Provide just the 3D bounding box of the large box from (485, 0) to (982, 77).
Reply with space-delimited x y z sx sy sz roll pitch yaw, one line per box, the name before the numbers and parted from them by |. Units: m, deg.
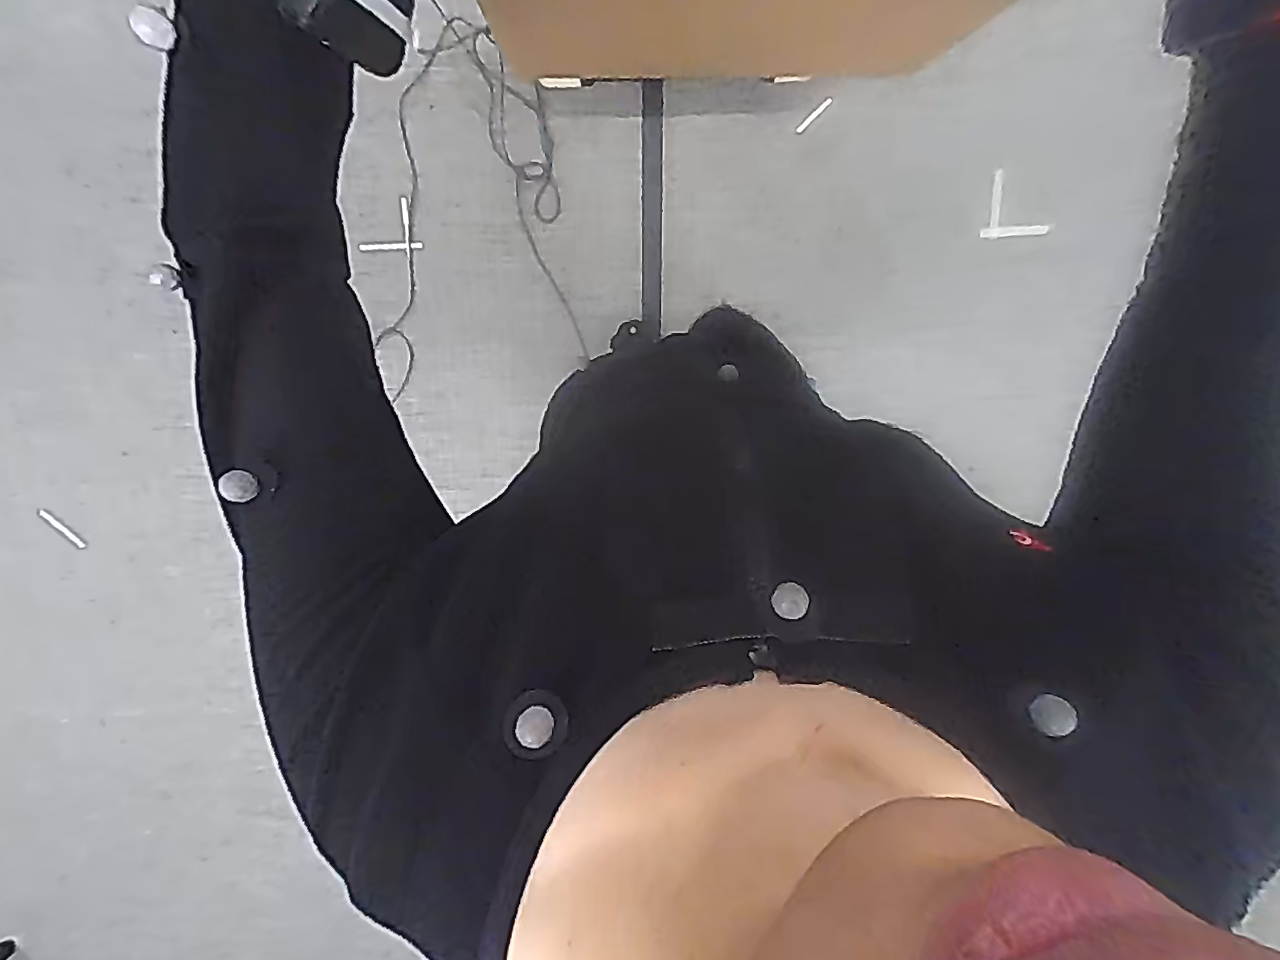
large box | 0.074 -0.502 0.348 0.408 0.320 0.320 -3 110 -2
